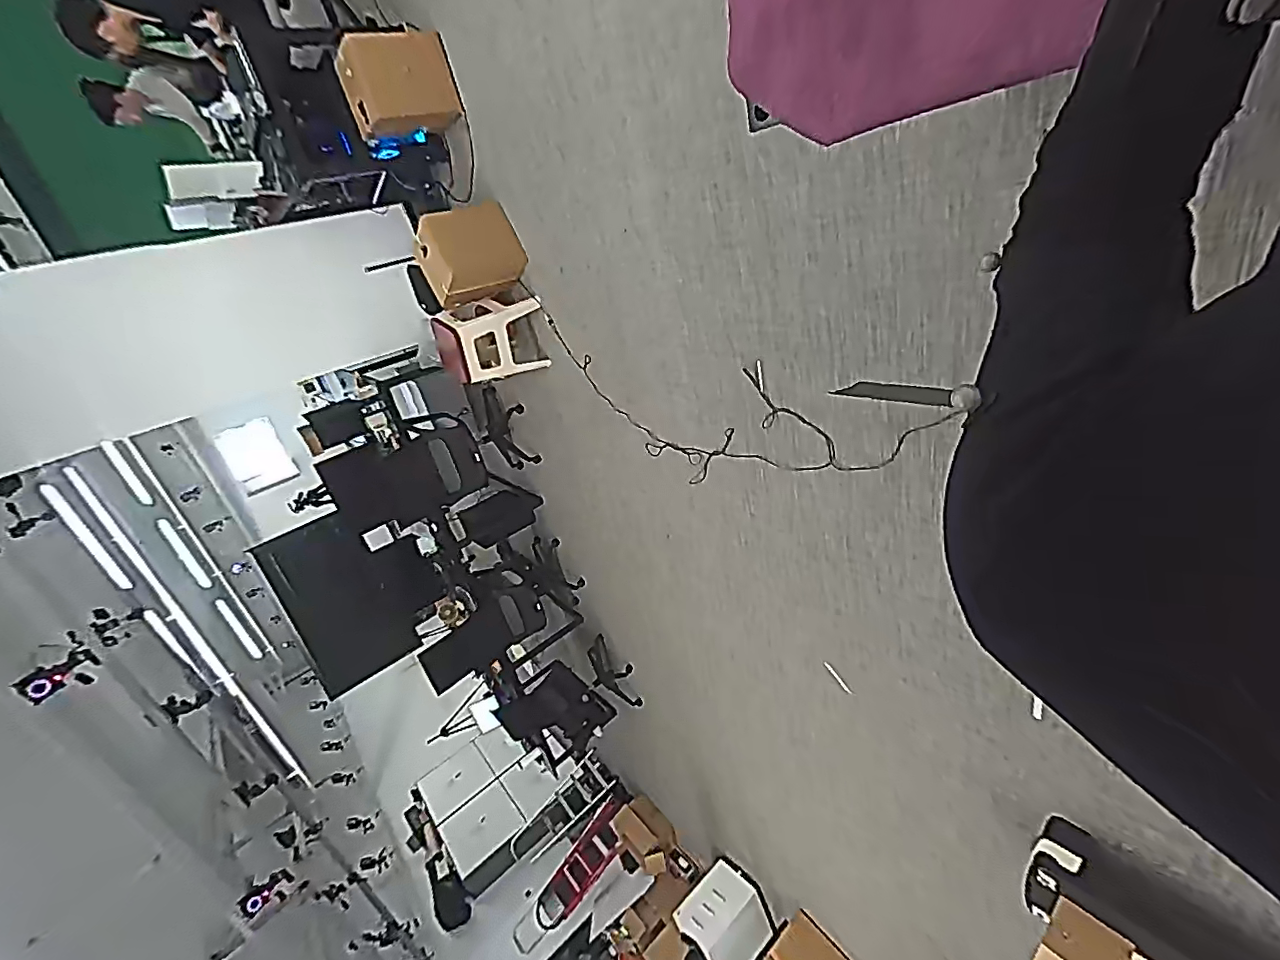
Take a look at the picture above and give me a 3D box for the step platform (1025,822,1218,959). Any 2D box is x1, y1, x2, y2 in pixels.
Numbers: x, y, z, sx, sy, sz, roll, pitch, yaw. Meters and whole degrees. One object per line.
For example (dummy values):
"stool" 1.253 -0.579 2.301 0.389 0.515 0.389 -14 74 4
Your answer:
"step platform" 1.499 1.329 1.519 0.684 0.204 0.286 18 131 48
